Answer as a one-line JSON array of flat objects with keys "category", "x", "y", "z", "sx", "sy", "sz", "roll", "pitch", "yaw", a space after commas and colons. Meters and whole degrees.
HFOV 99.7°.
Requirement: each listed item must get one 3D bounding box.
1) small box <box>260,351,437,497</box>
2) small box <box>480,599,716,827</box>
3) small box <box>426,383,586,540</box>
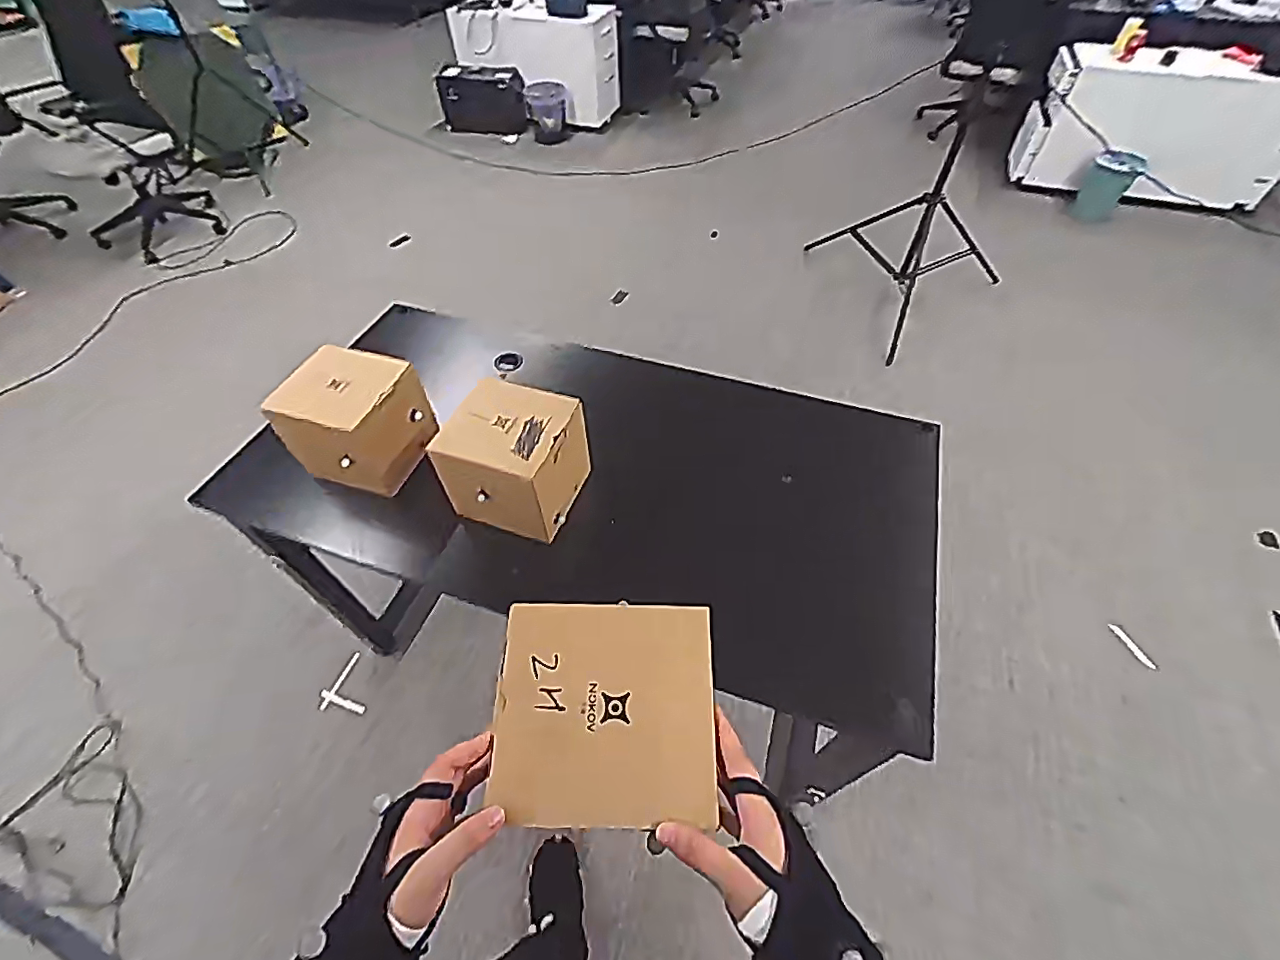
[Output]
[{"category": "small box", "x": -0.480, "y": -0.091, "z": 0.926, "sx": 0.179, "sy": 0.176, "sz": 0.168, "roll": 13, "pitch": 52, "yaw": 11}, {"category": "small box", "x": -0.030, "y": 0.218, "z": 0.504, "sx": 0.179, "sy": 0.176, "sz": 0.168, "roll": 1, "pitch": 60, "yaw": 1}, {"category": "small box", "x": -0.199, "y": -0.025, "z": 0.867, "sx": 0.179, "sy": 0.176, "sz": 0.168, "roll": 15, "pitch": 53, "yaw": 14}]
